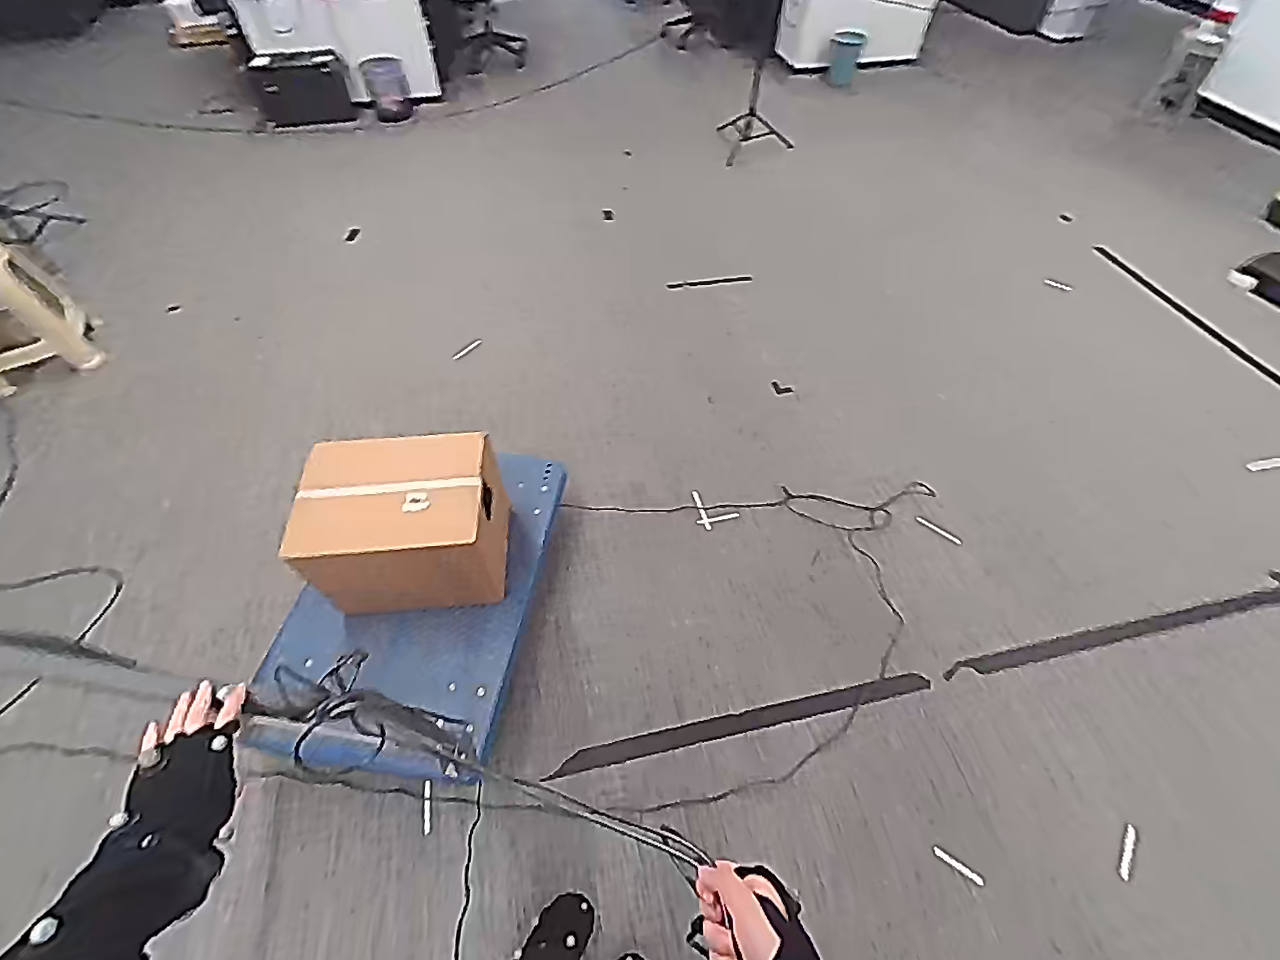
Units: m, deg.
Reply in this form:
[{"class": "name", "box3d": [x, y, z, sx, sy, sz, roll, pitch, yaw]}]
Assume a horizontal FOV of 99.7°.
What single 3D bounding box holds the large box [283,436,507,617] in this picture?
[{"class": "large box", "box3d": [-0.559, 0.118, 1.329, 0.408, 0.320, 0.320, -4, 54, -5]}]
